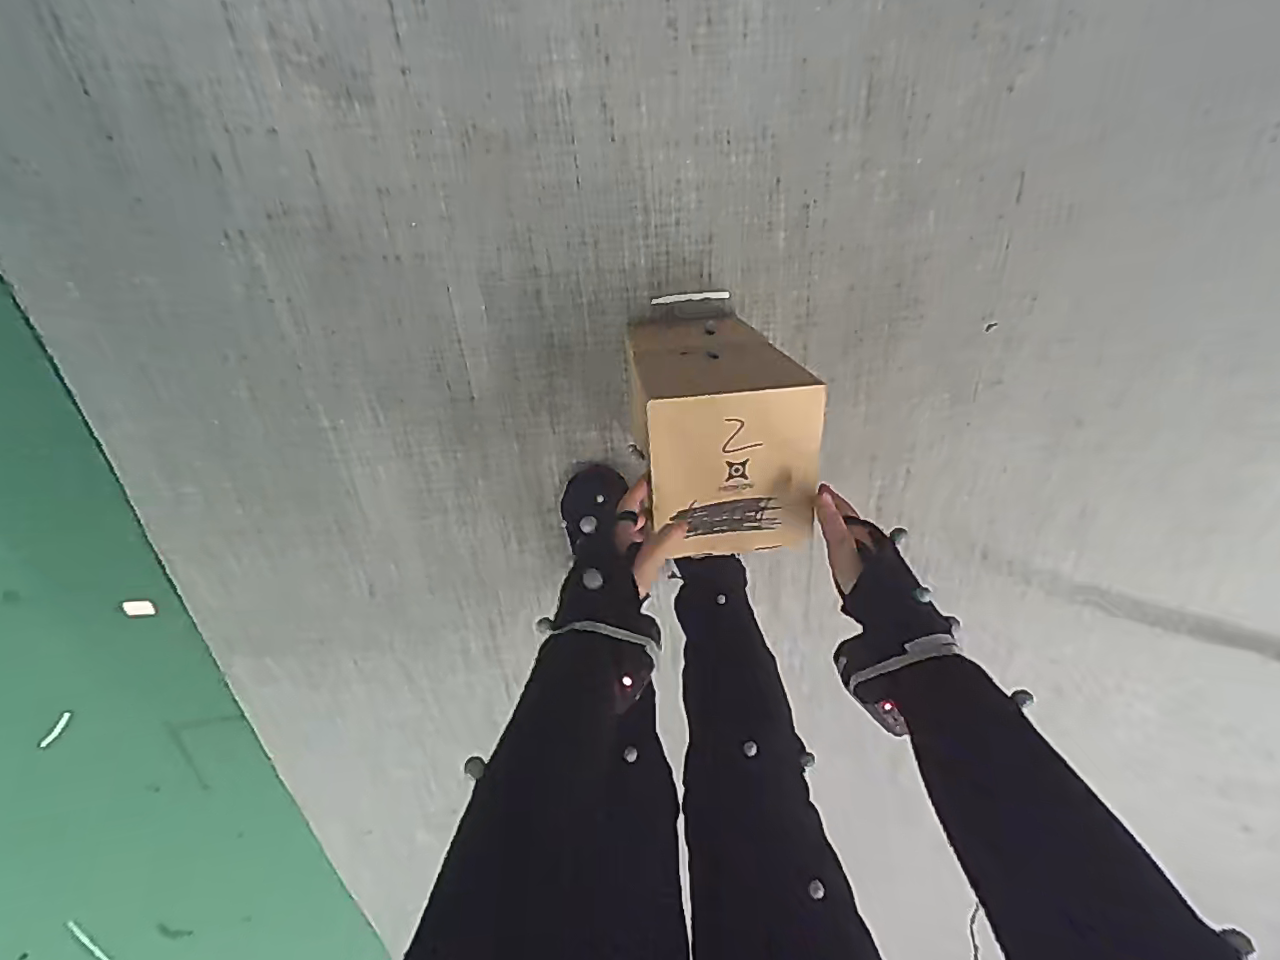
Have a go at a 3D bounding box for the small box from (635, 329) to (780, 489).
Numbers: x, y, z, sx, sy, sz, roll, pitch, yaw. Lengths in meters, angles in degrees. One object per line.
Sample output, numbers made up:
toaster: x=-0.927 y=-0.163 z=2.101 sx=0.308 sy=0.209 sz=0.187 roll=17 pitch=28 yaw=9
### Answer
small box: x=0.084 y=-0.107 z=0.749 sx=0.168 sy=0.176 sz=0.179 roll=-5 pitch=117 yaw=-3
